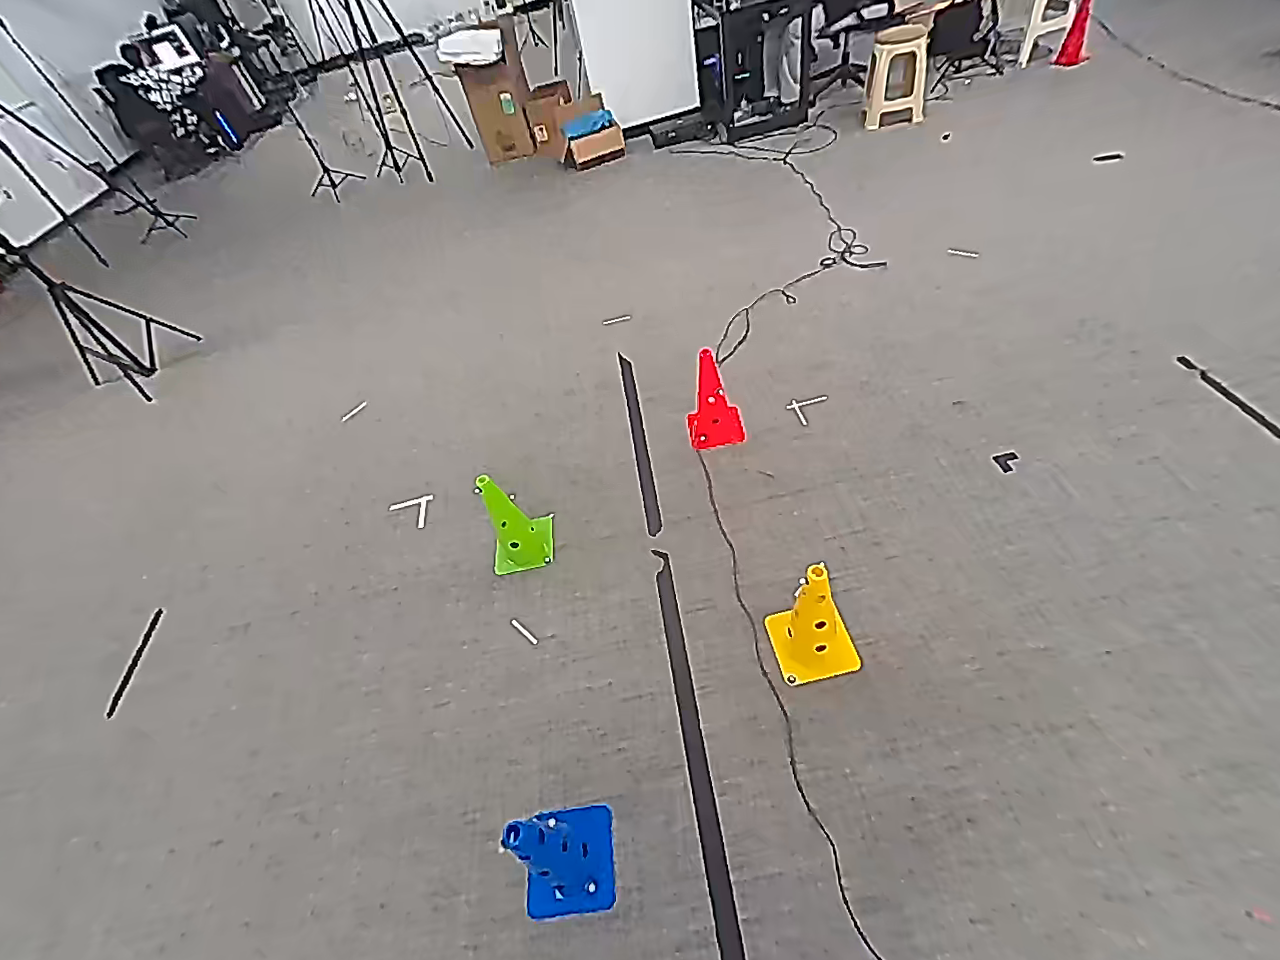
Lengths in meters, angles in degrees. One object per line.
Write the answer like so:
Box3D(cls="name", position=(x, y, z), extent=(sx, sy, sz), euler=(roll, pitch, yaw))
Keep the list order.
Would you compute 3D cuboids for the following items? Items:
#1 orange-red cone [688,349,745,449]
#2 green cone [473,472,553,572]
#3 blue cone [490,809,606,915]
Box3D(cls="orange-red cone", position=(0.252, -0.307, 1.897), extent=(0.199, 0.360, 0.198), euler=(-9, 50, 6))
Box3D(cls="green cone", position=(-0.428, 0.101, 1.714), extent=(0.202, 0.368, 0.200), euler=(-13, 48, 4))
Box3D(cls="blue cone", position=(-0.204, 0.754, 1.106), extent=(0.192, 0.380, 0.193), euler=(-11, 48, 7))
